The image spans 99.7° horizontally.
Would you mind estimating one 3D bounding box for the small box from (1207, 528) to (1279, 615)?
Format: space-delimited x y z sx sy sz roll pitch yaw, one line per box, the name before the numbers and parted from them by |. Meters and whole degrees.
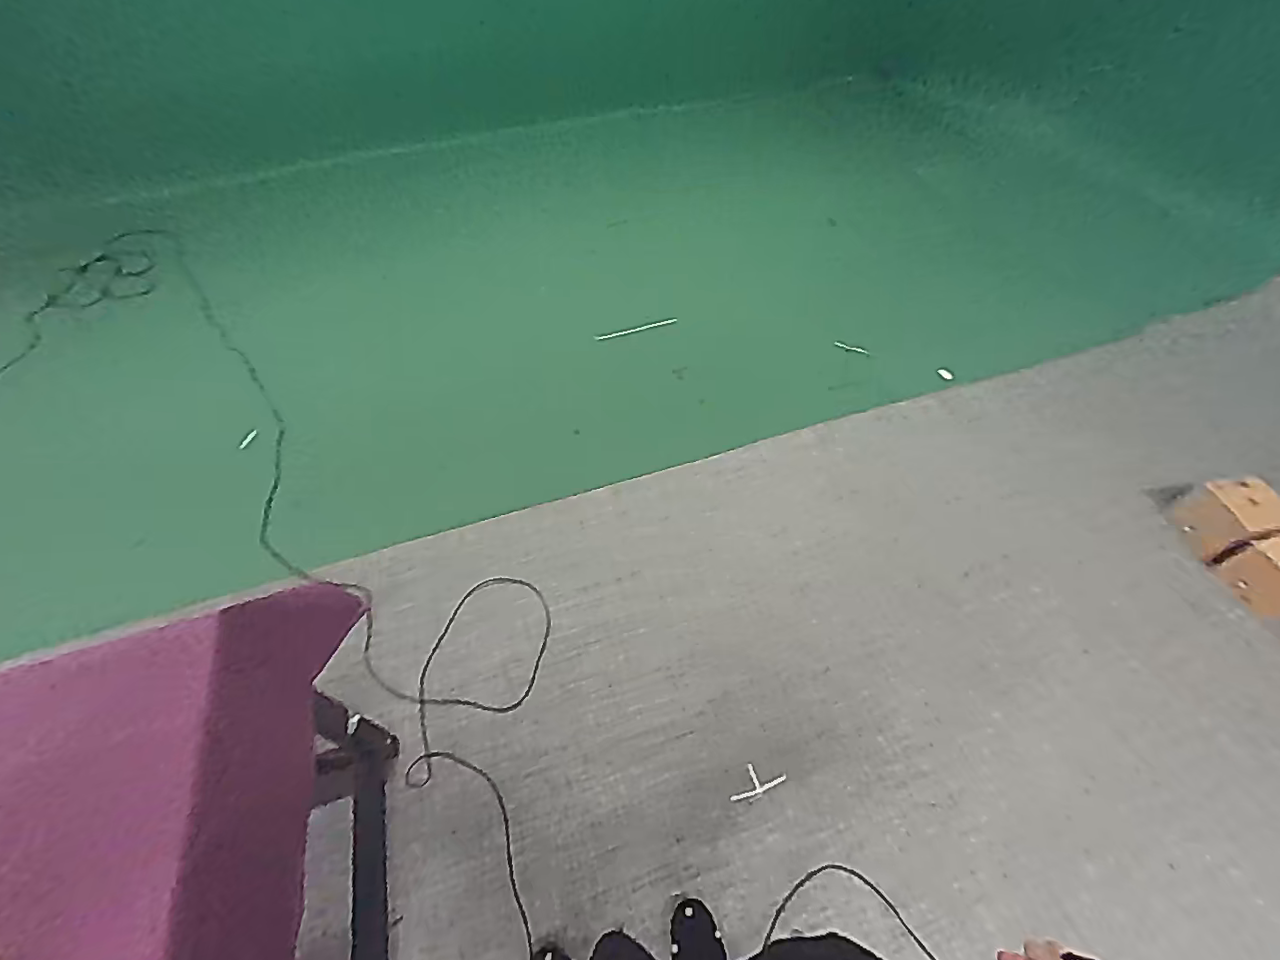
small box | 1.748 0.245 1.483 0.179 0.176 0.168 -17 53 -8
